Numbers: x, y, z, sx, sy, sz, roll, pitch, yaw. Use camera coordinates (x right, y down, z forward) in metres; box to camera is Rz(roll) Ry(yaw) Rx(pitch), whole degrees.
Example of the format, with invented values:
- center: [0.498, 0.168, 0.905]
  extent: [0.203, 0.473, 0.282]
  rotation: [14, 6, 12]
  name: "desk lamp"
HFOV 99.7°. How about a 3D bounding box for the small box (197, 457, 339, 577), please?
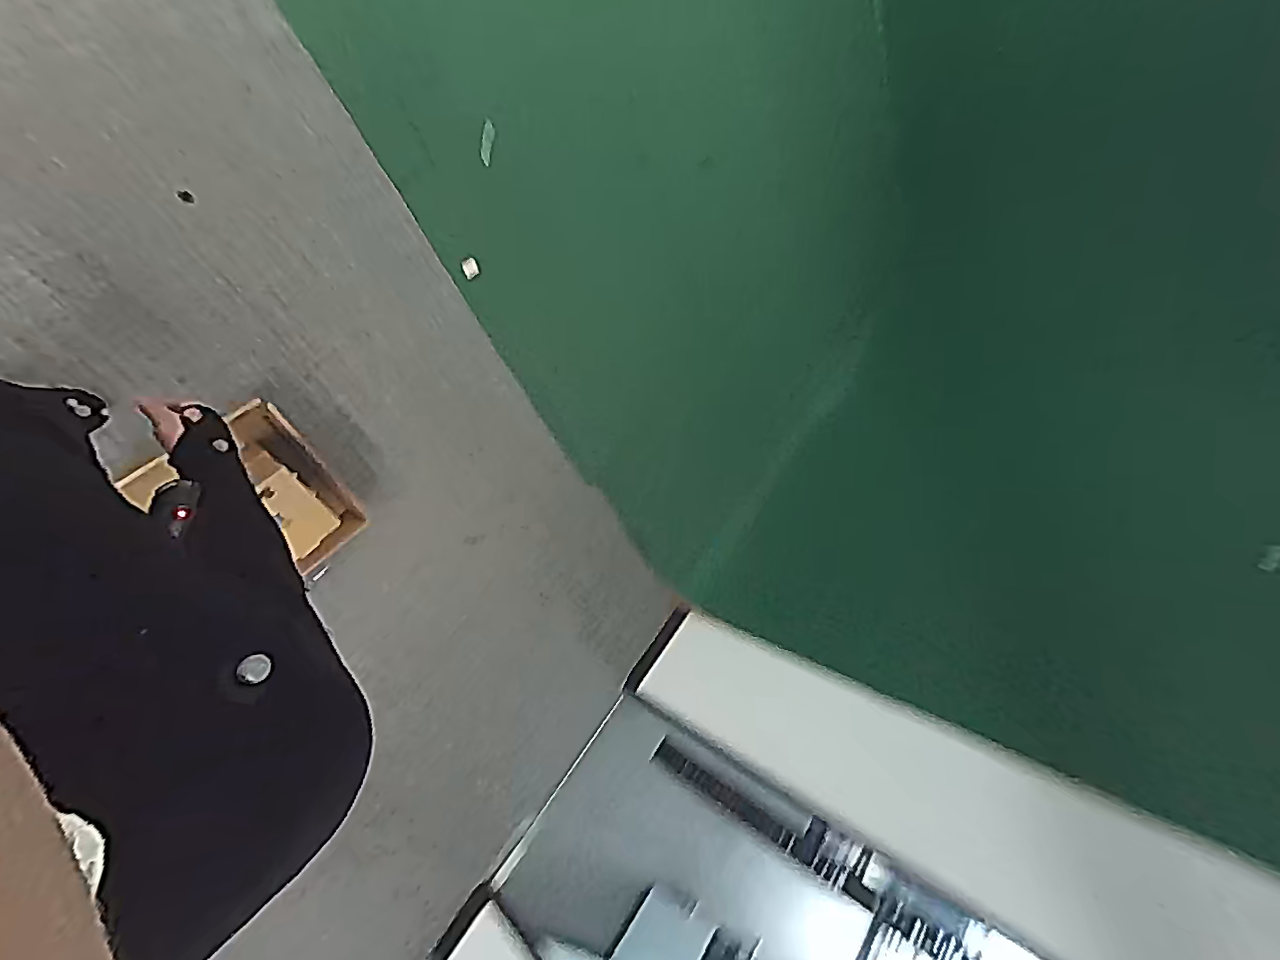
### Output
- center: [-0.800, 0.073, 1.165]
  extent: [0.168, 0.176, 0.179]
  rotation: [-47, 131, -26]
  name: "small box"
